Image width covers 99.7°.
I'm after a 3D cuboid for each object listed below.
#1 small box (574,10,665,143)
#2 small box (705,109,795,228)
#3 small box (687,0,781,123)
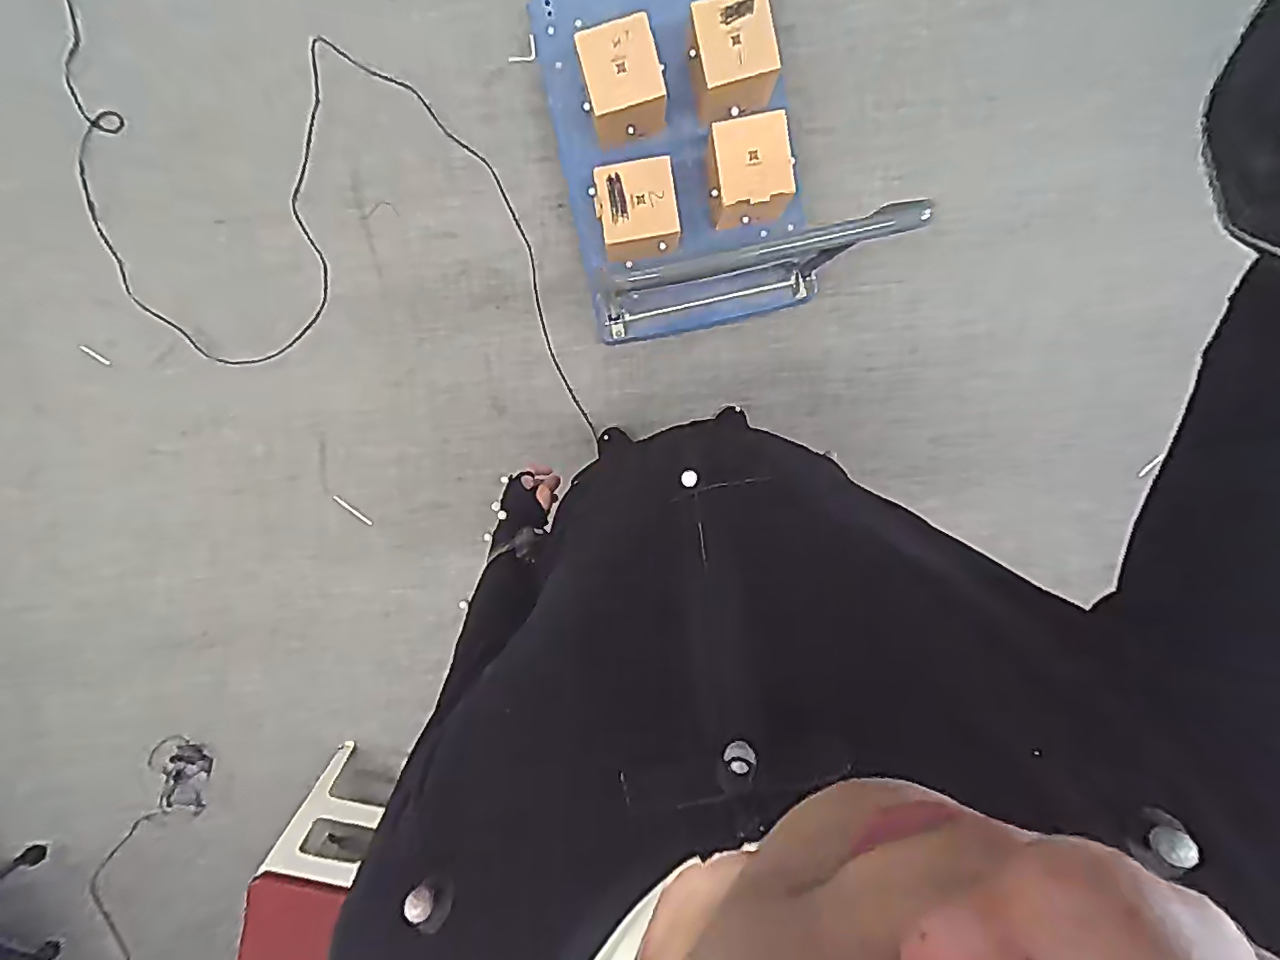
[{"bbox_3d":[-0.043,-0.913,1.247,0.168,0.176,0.179,-15,97,2],"label":"small box"},{"bbox_3d":[0.252,-0.723,1.271,0.168,0.176,0.179,-10,96,2],"label":"small box"},{"bbox_3d":[0.207,-0.965,1.236,0.168,0.176,0.179,-13,98,3],"label":"small box"}]
